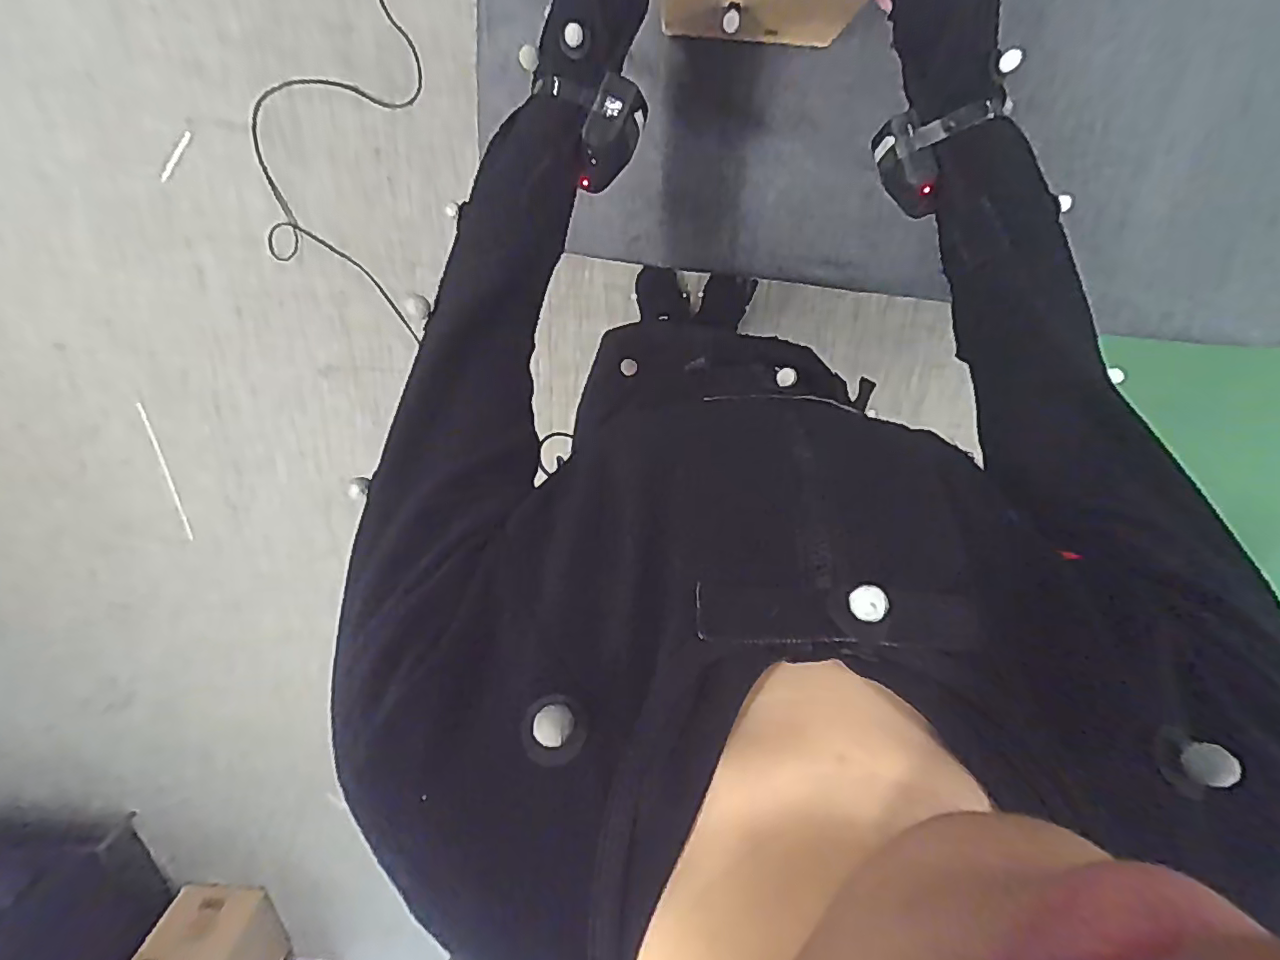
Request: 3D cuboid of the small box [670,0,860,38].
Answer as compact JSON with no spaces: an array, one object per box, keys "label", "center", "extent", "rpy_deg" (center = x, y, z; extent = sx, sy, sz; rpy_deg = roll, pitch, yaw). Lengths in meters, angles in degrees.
[{"label":"small box","center":[0.110,-0.476,0.421],"extent":[0.168,0.176,0.179],"rpy_deg":[5,116,2]}]
